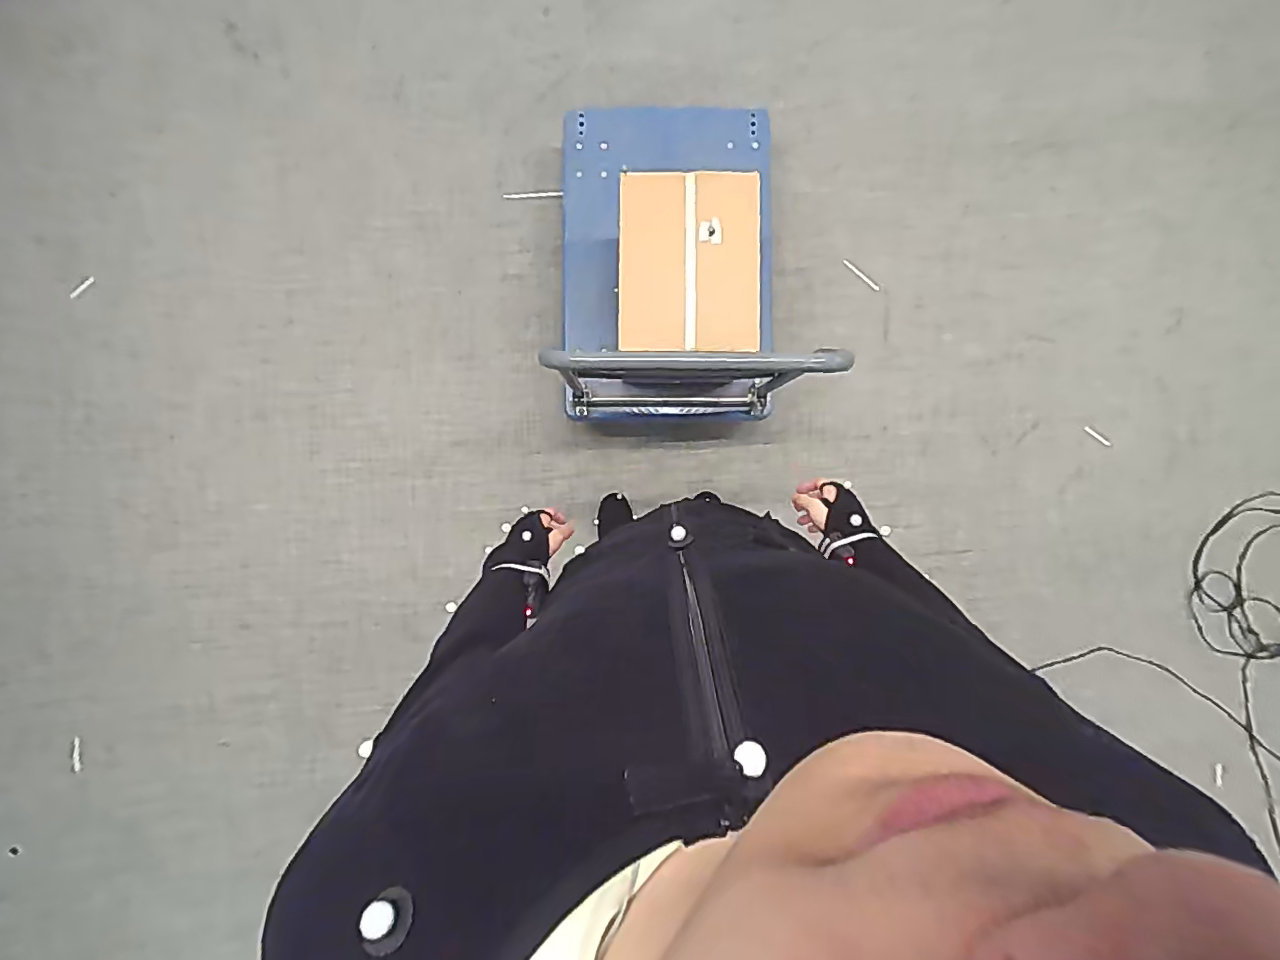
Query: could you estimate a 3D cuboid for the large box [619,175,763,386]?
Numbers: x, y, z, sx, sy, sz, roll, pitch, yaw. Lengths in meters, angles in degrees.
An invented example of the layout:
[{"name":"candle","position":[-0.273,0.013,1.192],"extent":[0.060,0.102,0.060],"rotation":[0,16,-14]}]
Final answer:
[{"name":"large box","position":[0.112,-0.462,1.328],"extent":[0.320,0.320,0.408],"rotation":[0,87,-1]}]
